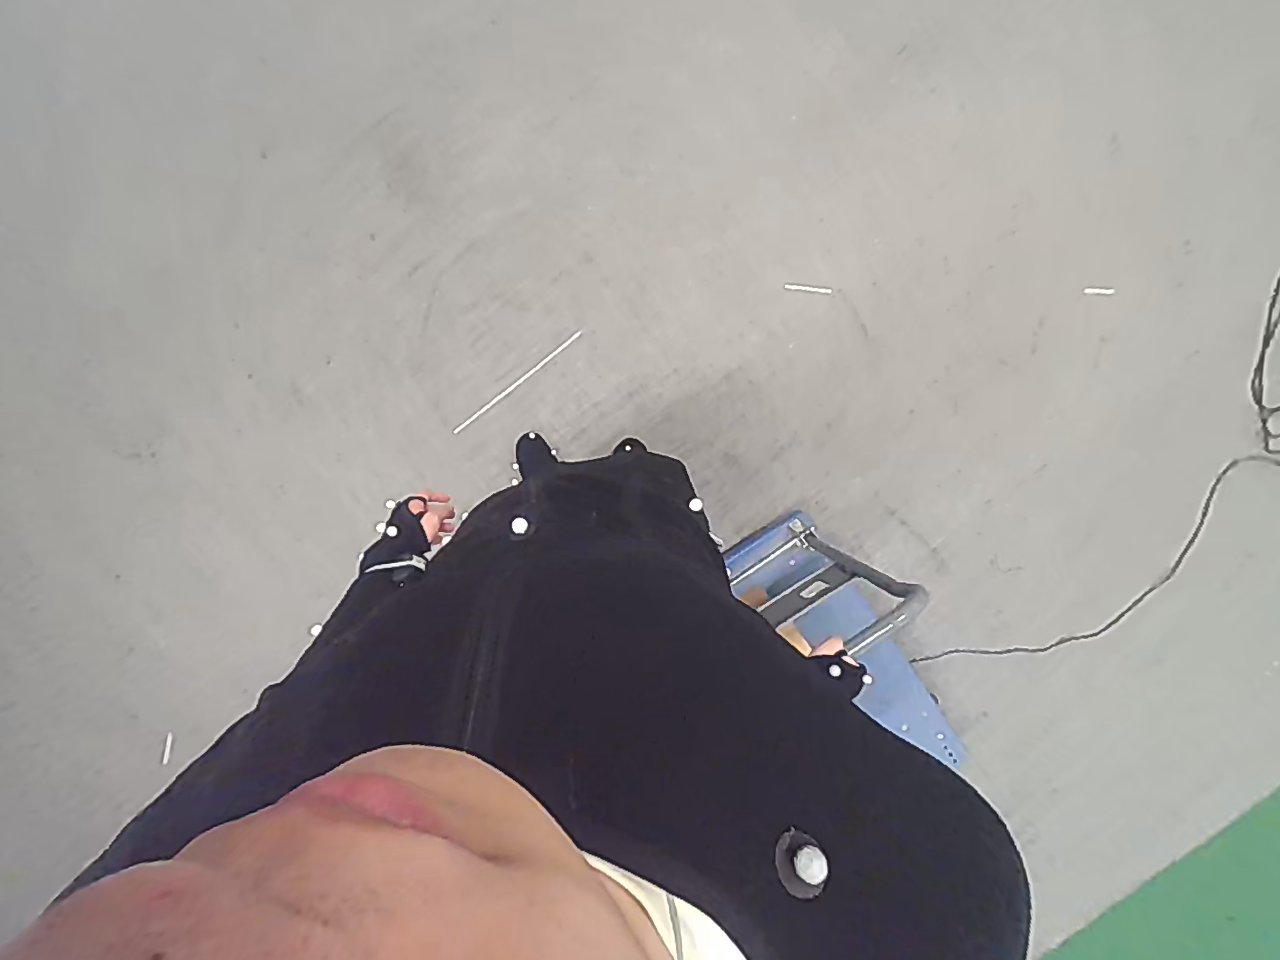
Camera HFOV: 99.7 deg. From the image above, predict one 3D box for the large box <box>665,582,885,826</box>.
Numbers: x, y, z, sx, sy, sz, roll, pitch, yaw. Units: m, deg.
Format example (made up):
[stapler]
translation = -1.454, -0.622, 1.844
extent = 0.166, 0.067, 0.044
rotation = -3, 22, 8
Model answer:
[large box]
translation = 0.312, 0.533, 1.359
extent = 0.320, 0.320, 0.408
rotation = -36, 95, 2
